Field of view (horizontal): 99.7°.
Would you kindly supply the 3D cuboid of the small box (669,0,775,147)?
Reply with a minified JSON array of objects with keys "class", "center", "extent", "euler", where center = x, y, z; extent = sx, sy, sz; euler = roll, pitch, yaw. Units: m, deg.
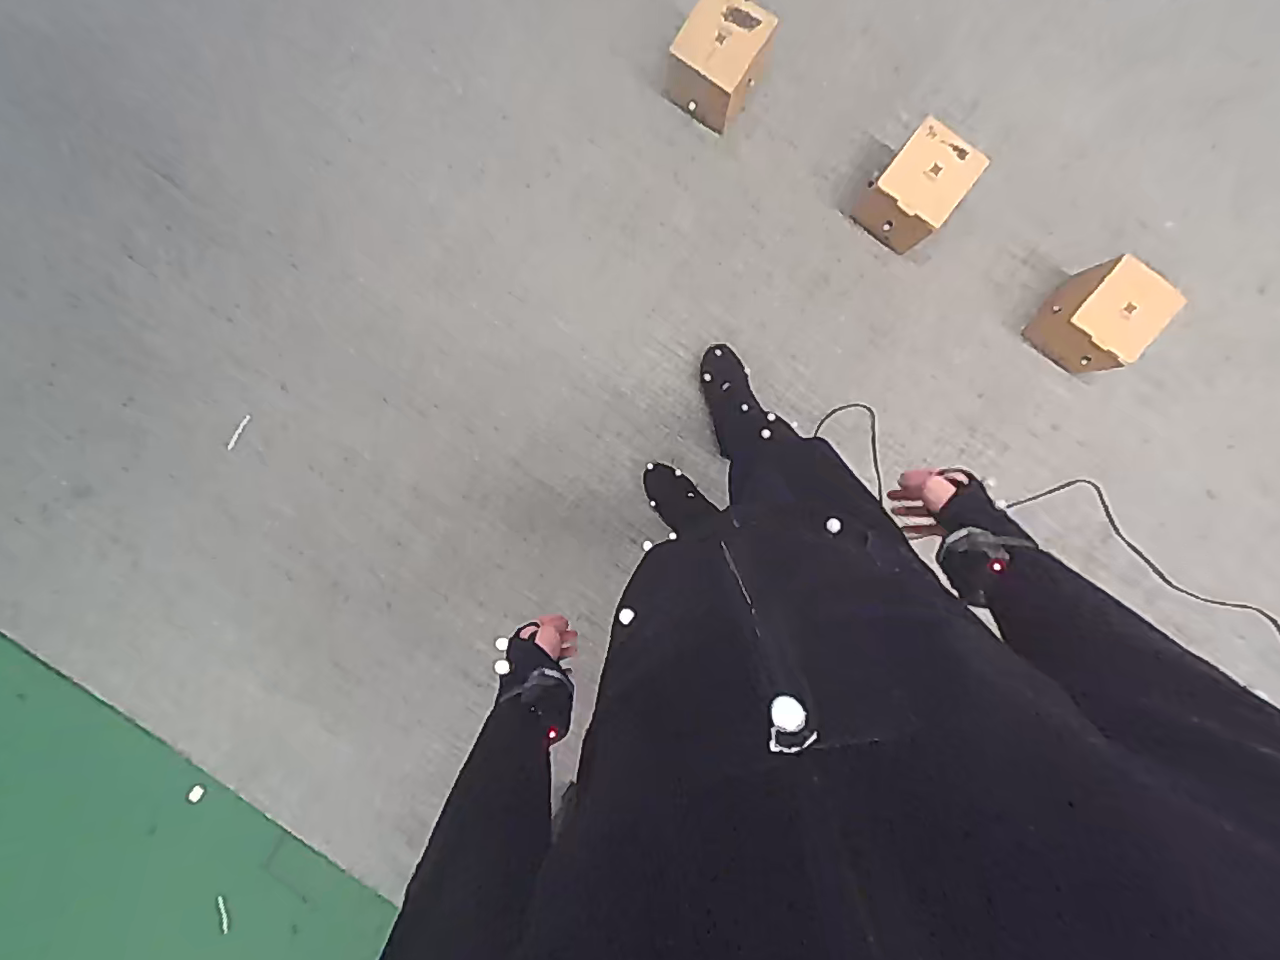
[{"class":"small box","center":[0.178,-0.917,1.233],"extent":[0.168,0.176,0.179],"euler":[34,97,1]}]

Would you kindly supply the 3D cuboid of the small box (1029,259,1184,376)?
[{"class":"small box","center":[1.033,-0.354,1.221],"extent":[0.168,0.176,0.179],"euler":[36,95,0]}]

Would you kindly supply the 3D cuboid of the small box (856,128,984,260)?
[{"class":"small box","center":[0.619,-0.635,1.227],"extent":[0.168,0.176,0.179],"euler":[37,97,1]}]
